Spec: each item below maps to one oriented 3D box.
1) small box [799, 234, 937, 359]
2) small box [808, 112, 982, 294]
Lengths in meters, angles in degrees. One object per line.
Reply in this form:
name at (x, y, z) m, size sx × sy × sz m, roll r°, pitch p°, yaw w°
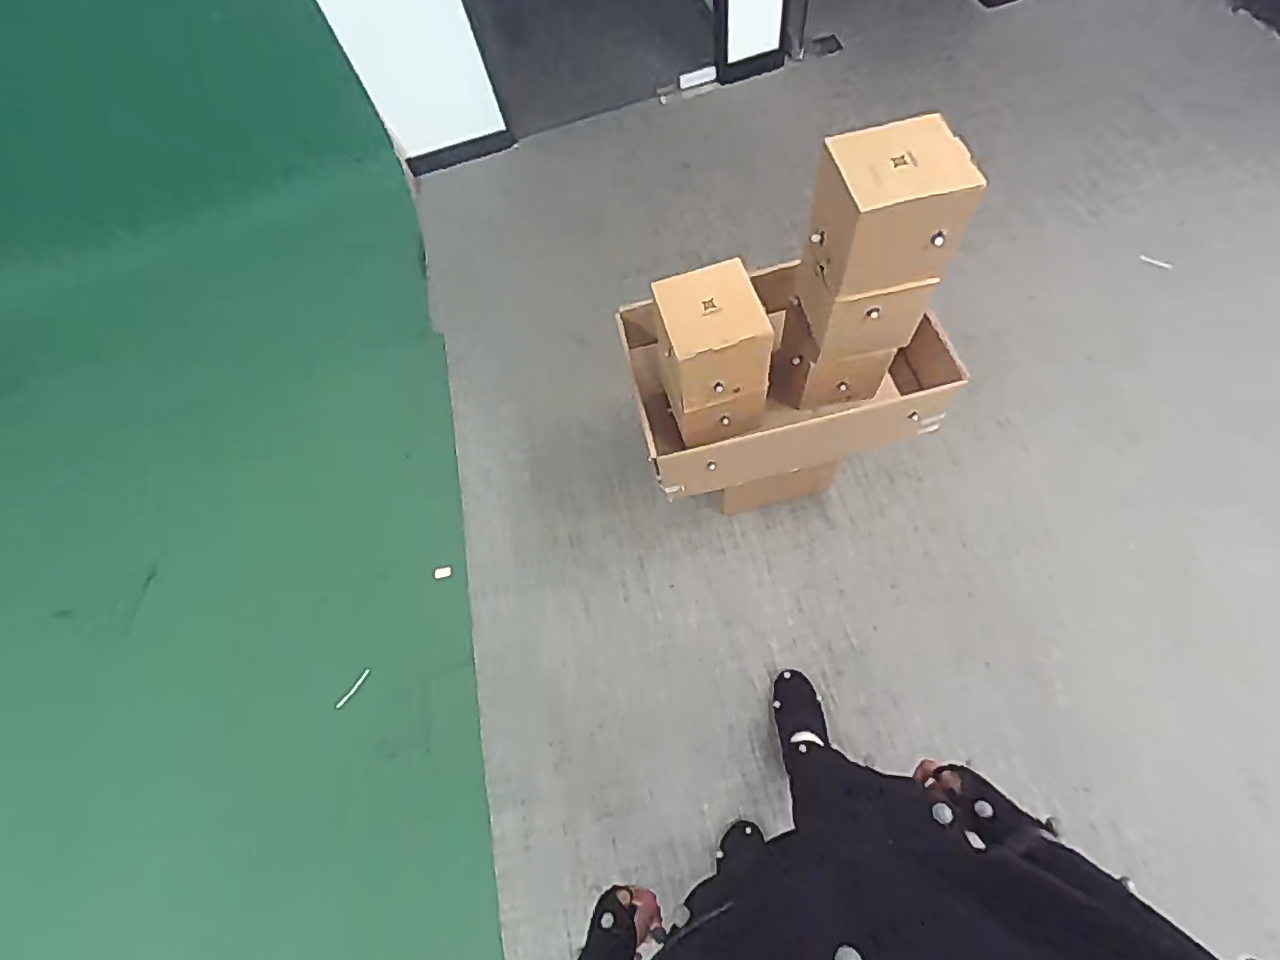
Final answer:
small box at (0.396, -0.342, 0.980) m, size 0.179 × 0.176 × 0.168 m, roll -11°, pitch 64°, yaw 3°
small box at (0.377, -0.420, 0.838) m, size 0.179 × 0.176 × 0.168 m, roll -12°, pitch 64°, yaw 4°
